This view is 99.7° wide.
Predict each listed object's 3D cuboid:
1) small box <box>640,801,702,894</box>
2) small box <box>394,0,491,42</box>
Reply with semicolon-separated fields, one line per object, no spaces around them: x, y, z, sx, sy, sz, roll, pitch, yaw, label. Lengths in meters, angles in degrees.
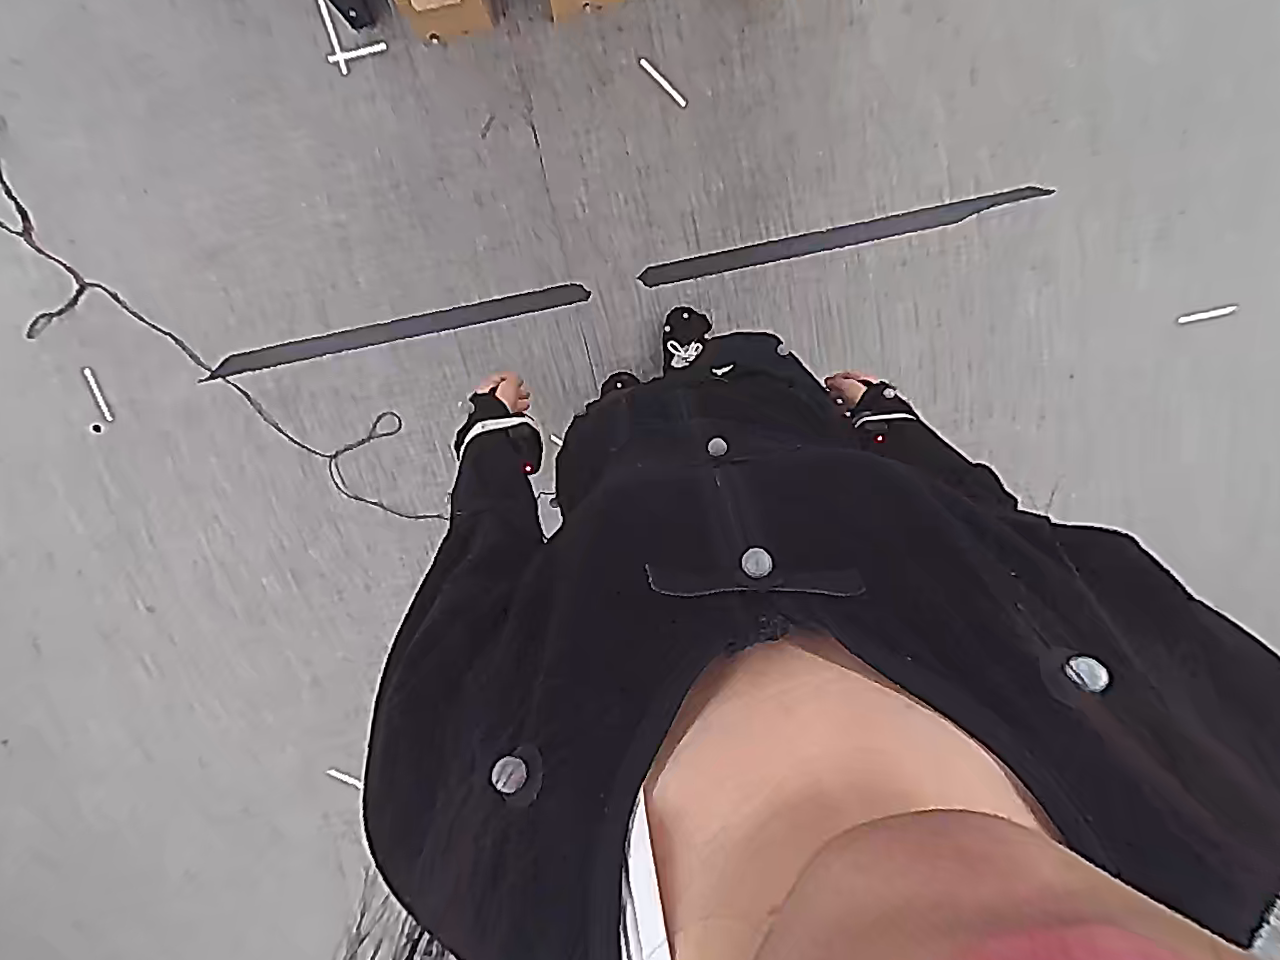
0.097;1.188;1.755;0.168;0.176;0.179;-13;106;2;small box
-0.425;-1.059;1.128;0.168;0.176;0.179;-11;104;1;small box
